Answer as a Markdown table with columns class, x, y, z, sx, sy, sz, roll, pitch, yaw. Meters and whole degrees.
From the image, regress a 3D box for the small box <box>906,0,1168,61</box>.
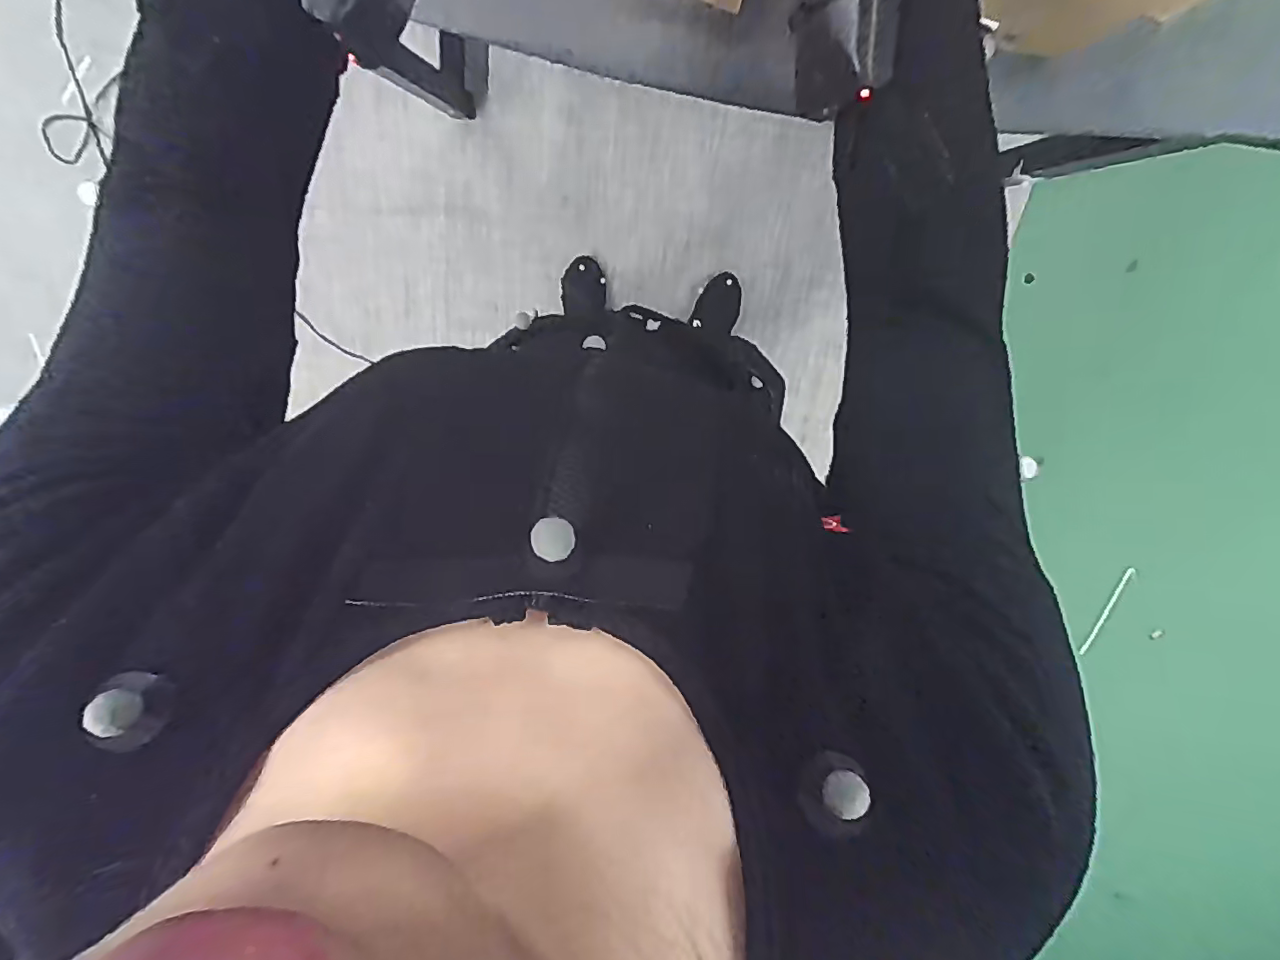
| class | x | y | z | sx | sy | sz | roll | pitch | yaw |
| --- | --- | --- | --- | --- | --- | --- | --- | --- | --- |
| small box | 0.346 | -0.483 | 0.438 | 0.168 | 0.176 | 0.179 | 11 | 113 | 1 |
